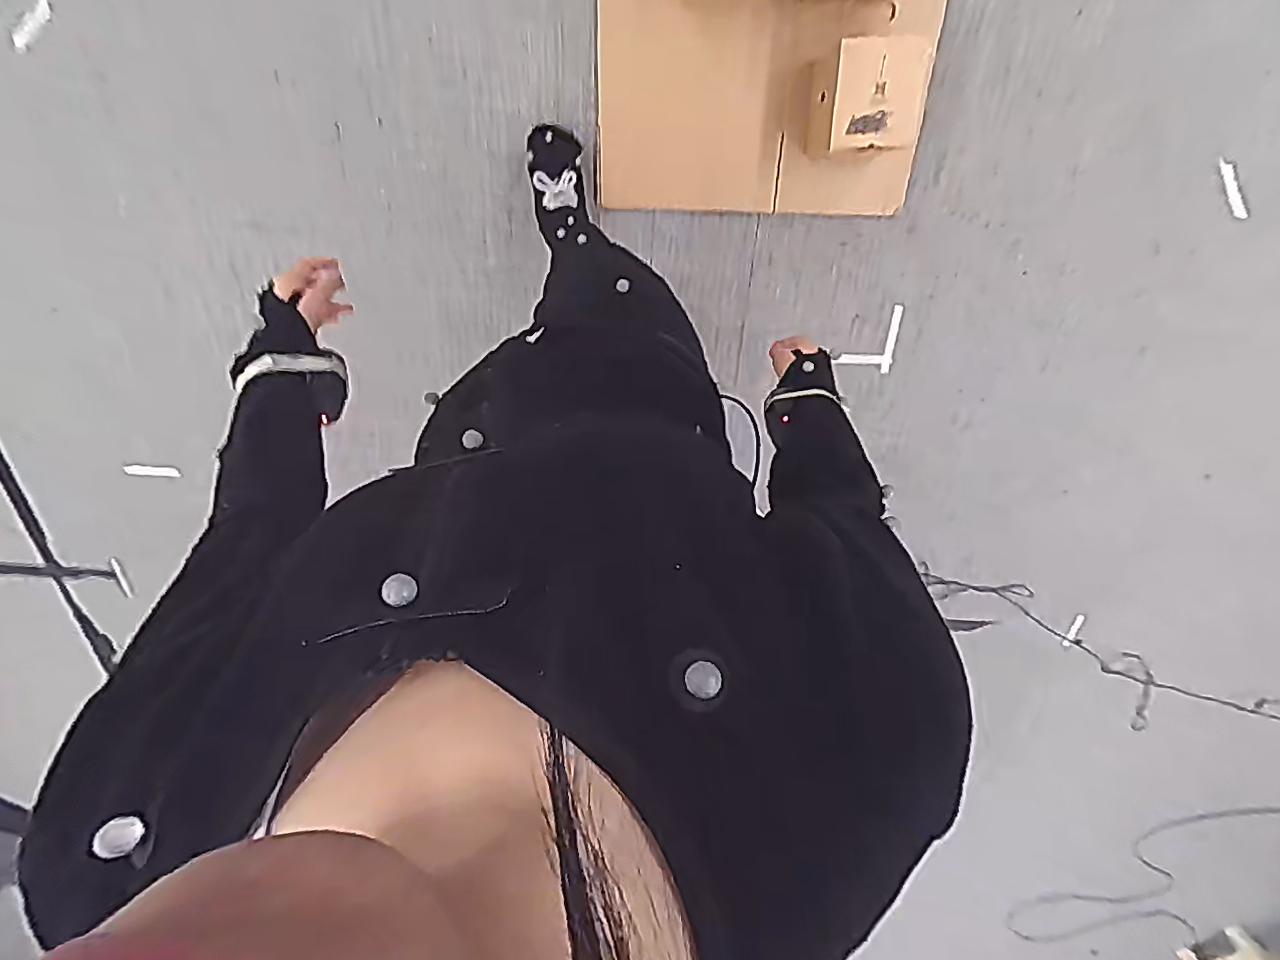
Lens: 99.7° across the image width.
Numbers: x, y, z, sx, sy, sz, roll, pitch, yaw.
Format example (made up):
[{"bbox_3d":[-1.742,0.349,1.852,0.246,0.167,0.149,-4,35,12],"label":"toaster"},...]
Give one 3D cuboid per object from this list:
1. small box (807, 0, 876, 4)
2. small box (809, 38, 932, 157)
[{"bbox_3d":[0.410,-0.983,0.964,0.179,0.176,0.168,-2,116,2],"label":"small box"},{"bbox_3d":[0.446,-0.751,1.079,0.168,0.176,0.179,-2,117,1],"label":"small box"}]
